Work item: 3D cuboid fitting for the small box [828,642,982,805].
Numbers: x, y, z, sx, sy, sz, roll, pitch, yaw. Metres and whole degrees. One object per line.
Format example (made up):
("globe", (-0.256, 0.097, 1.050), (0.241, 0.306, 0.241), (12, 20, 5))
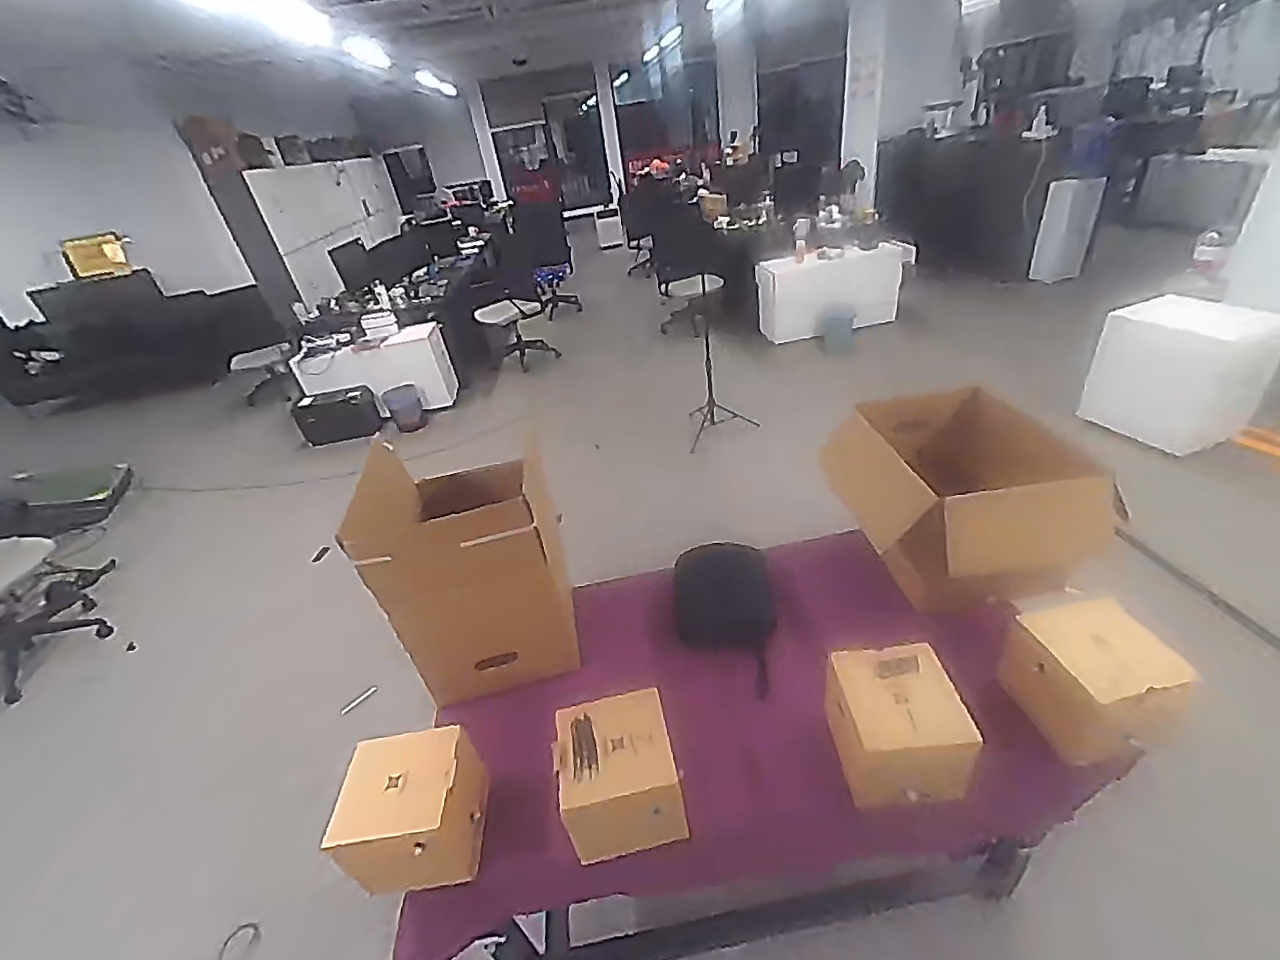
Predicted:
("small box", (0.412, 0.394, 0.879), (0.168, 0.176, 0.179), (-8, 34, 4))

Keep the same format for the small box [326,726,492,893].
("small box", (-0.359, 0.536, 0.879), (0.179, 0.176, 0.168), (-9, 33, -1))

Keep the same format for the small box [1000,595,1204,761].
("small box", (0.737, 0.323, 0.892), (0.168, 0.176, 0.179), (-13, 33, -1))
